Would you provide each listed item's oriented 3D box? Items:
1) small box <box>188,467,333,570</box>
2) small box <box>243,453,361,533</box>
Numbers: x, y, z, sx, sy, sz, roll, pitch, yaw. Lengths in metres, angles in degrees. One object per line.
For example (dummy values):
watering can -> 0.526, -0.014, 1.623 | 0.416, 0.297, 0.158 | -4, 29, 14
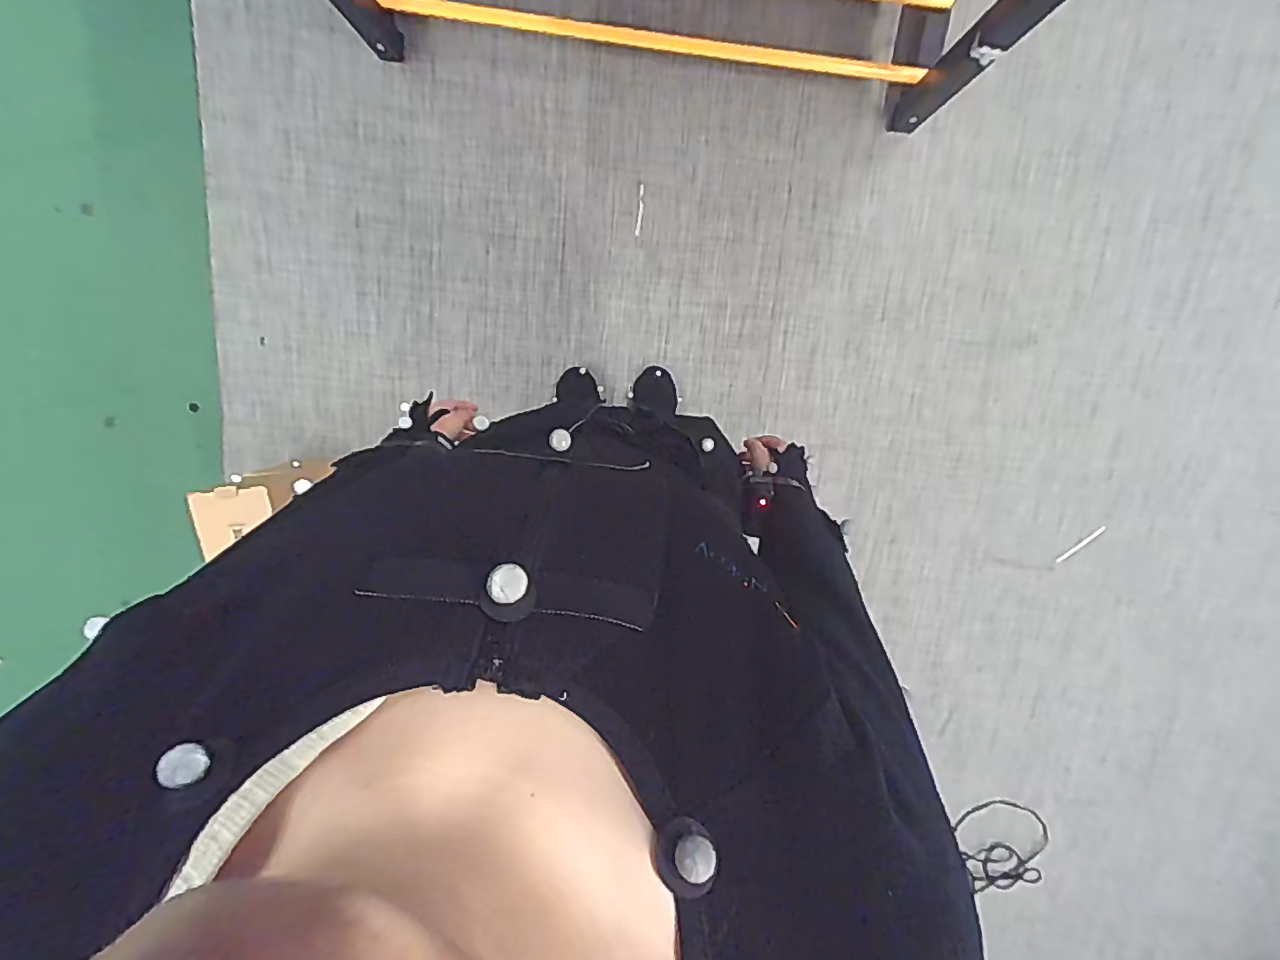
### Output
small box -> -0.791, 0.074, 1.147 | 0.168, 0.176, 0.179 | -6, 103, 3
small box -> -0.799, 0.032, 1.303 | 0.179, 0.176, 0.168 | -3, 102, 2
